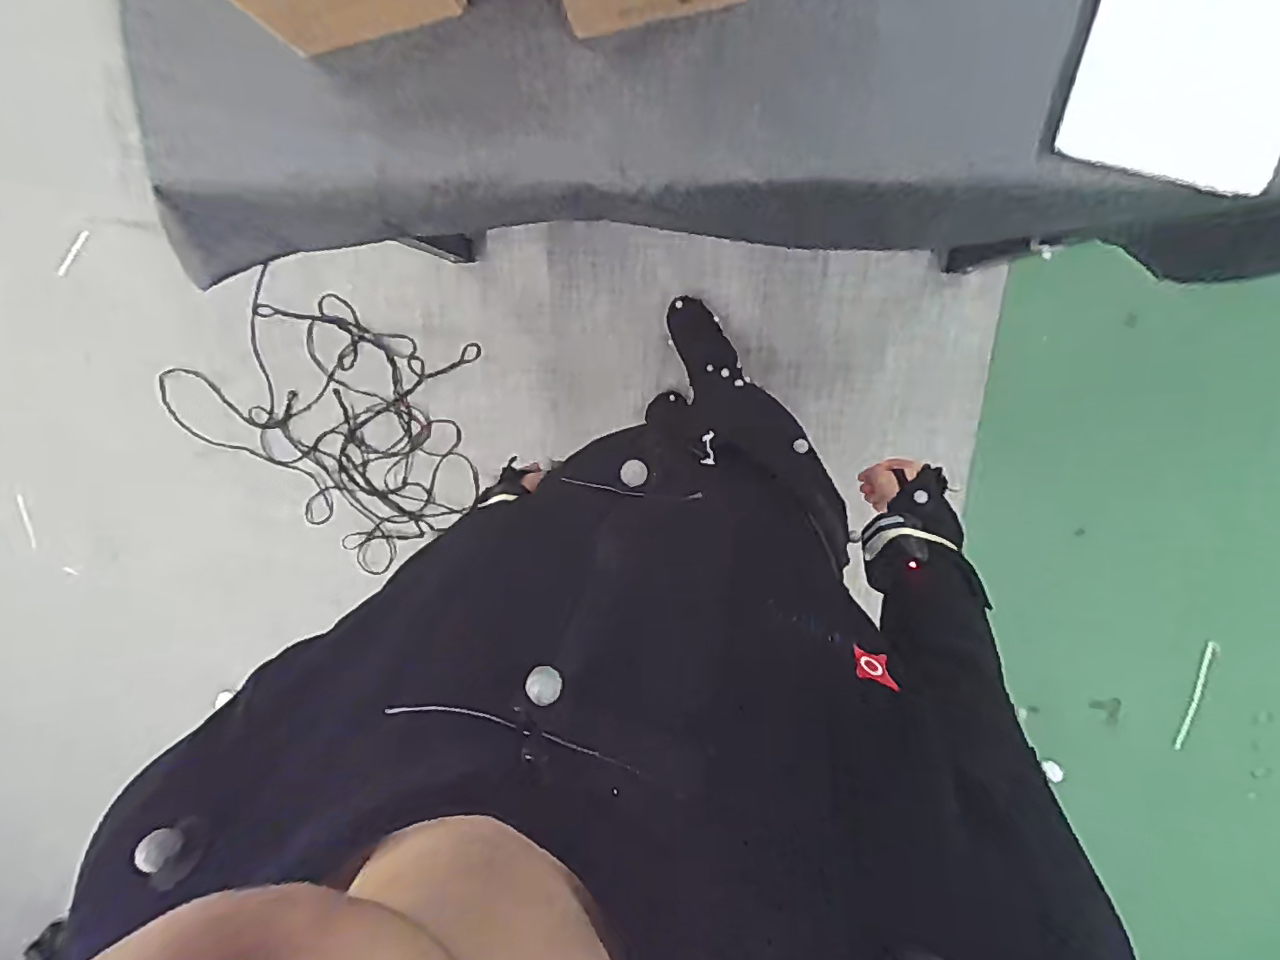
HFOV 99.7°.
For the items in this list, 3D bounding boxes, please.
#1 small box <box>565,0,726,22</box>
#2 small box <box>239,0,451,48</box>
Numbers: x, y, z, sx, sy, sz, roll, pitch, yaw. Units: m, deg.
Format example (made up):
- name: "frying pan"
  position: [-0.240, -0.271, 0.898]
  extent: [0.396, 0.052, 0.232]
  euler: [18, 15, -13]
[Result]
- name: "small box"
  position: [-0.001, -0.493, 0.407]
  extent: [0.168, 0.176, 0.179]
  euler: [-9, 102, 5]
- name: "small box"
  position: [-0.273, -0.488, 0.426]
  extent: [0.179, 0.176, 0.168]
  euler: [-10, 102, 5]
